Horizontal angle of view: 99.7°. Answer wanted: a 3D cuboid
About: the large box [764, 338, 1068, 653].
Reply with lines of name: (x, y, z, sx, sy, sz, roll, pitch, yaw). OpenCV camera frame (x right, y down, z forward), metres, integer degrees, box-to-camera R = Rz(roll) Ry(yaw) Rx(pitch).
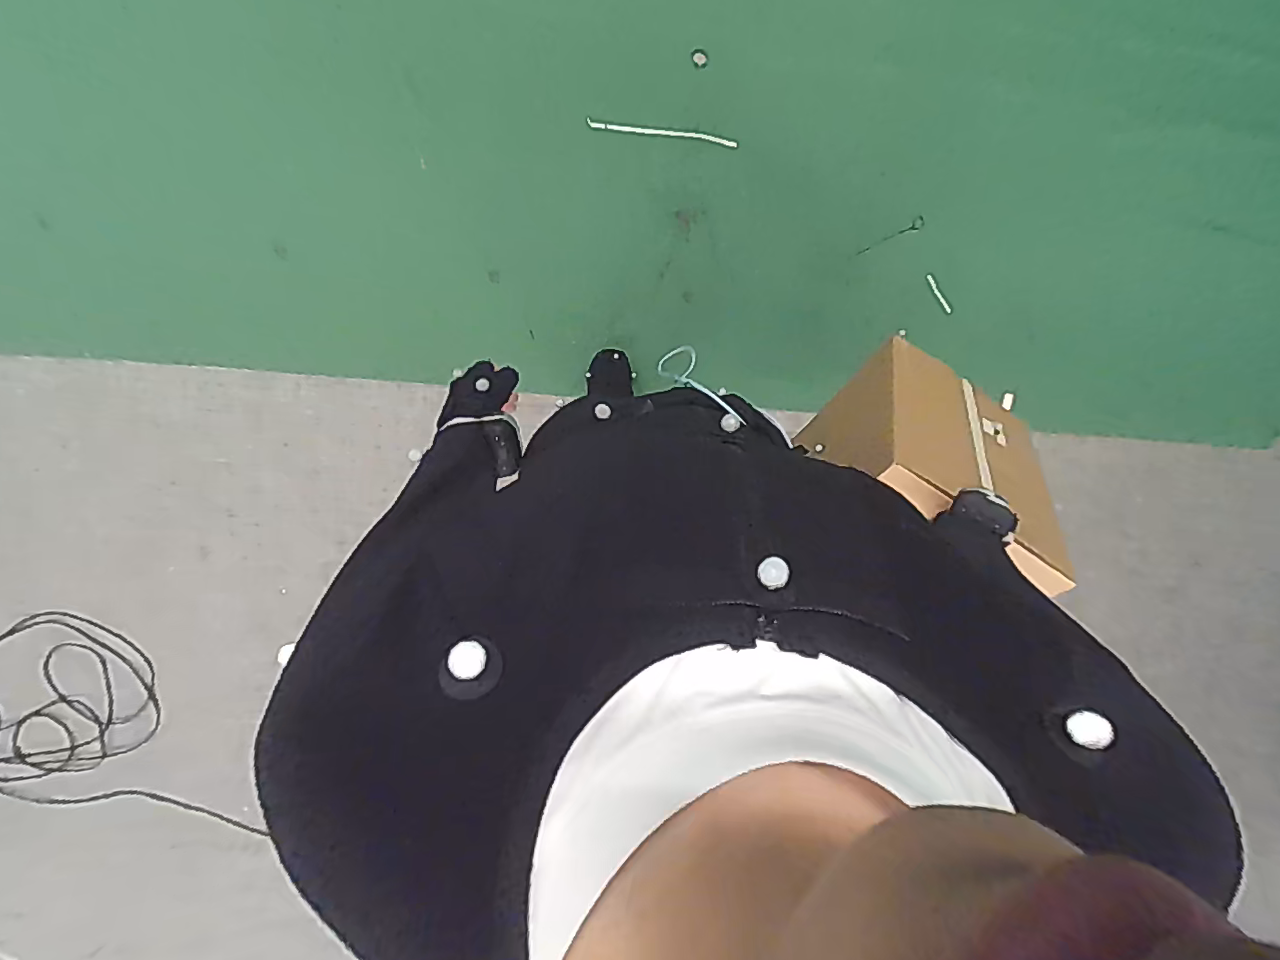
large box: (0.460, 0.024, 0.975, 0.320, 0.408, 0.320, 33, 134, -4)
